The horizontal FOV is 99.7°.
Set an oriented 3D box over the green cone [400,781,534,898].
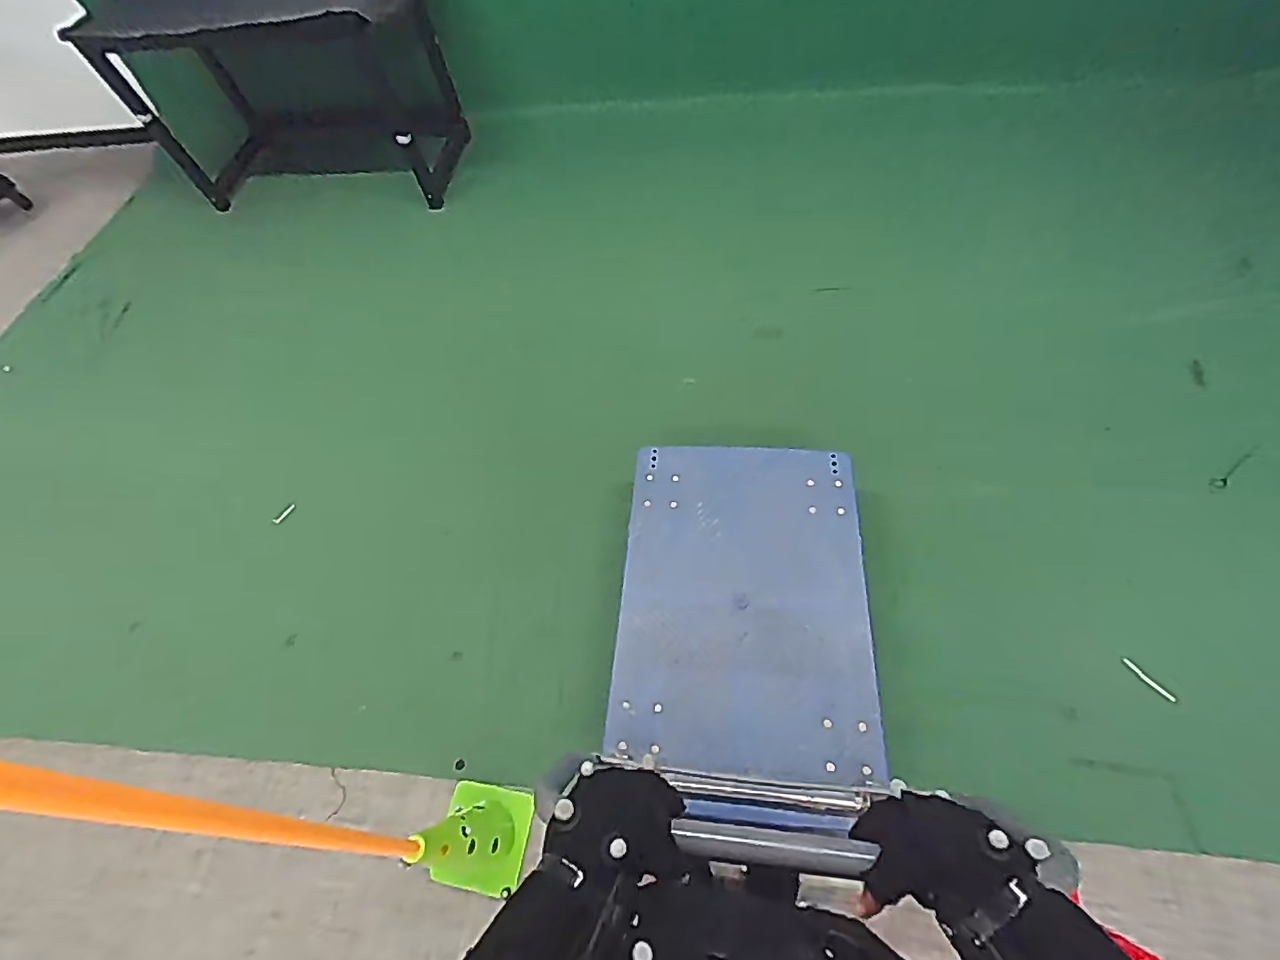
[{"bbox_3d":[-0.374,0.727,1.092,0.202,0.368,0.200,5,59,11],"label":"green cone"}]
